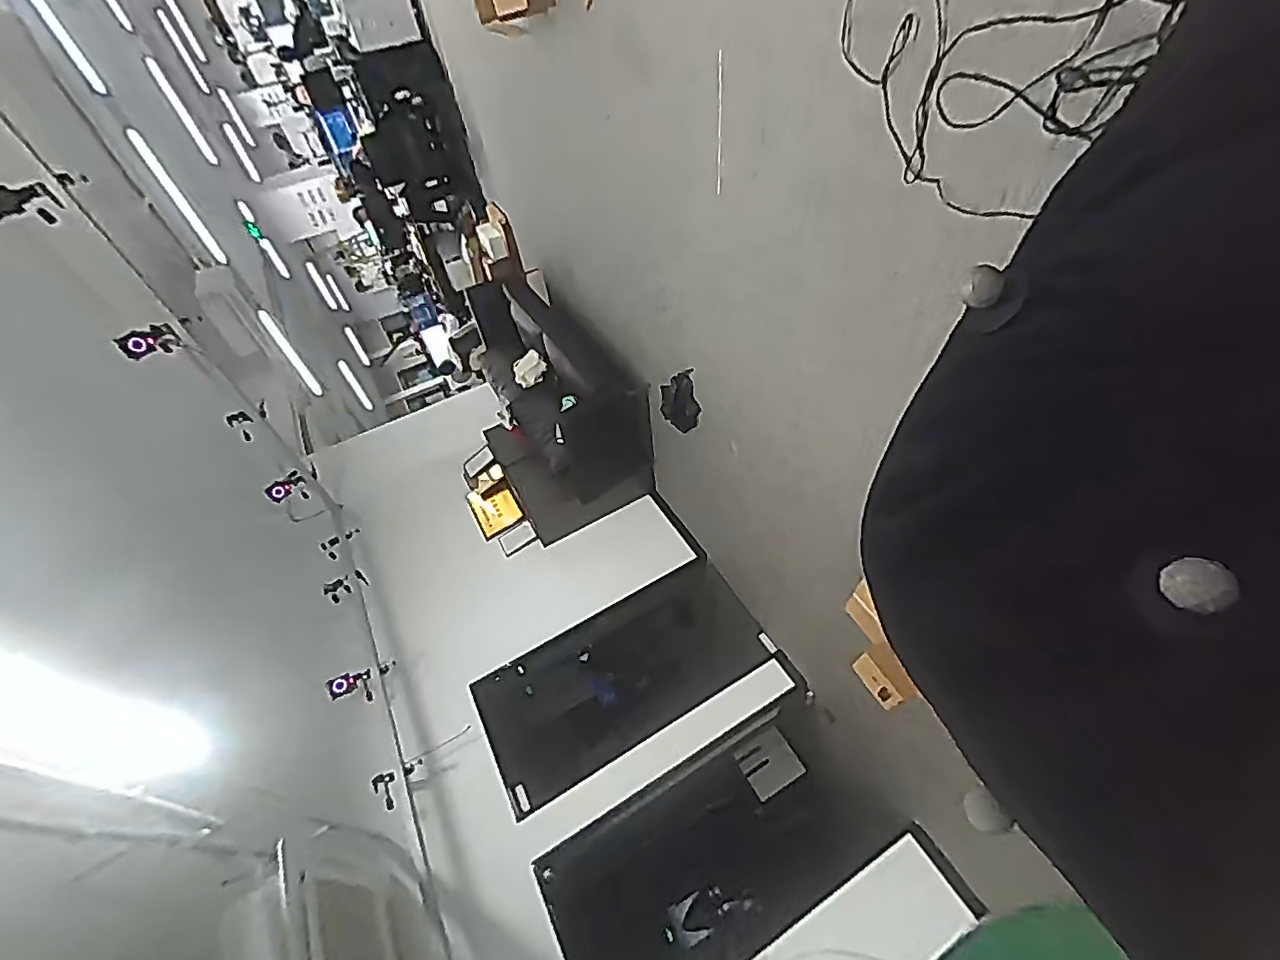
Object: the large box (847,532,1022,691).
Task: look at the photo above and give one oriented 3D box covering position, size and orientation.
[{"bbox_3d":[1.038,0.471,1.948,0.408,0.320,0.320,55,163,31],"label":"large box"}]
